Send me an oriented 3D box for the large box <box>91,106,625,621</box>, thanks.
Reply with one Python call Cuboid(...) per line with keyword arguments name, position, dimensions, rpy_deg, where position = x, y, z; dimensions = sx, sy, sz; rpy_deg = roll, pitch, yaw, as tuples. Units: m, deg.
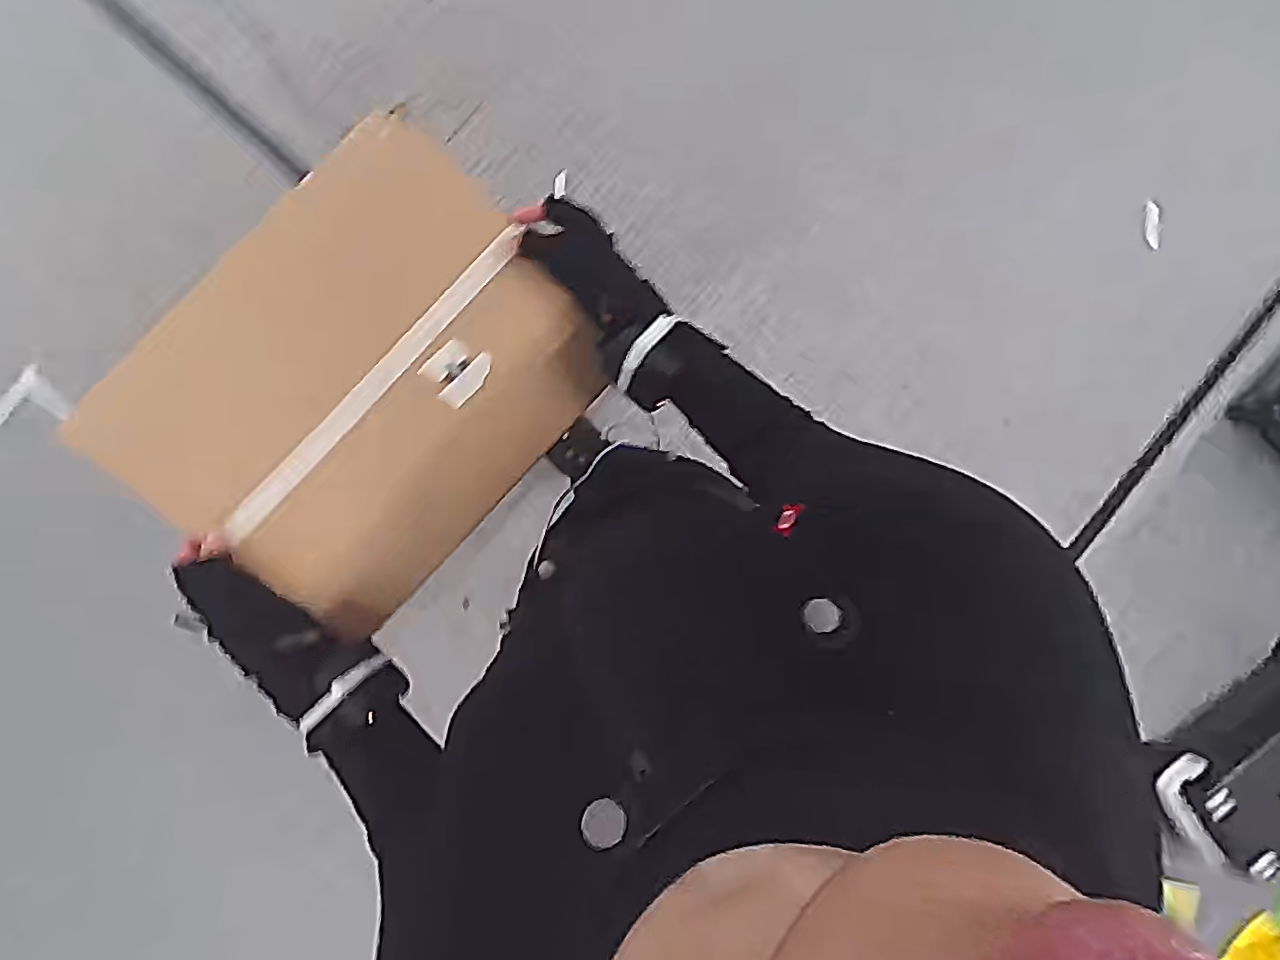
Cuboid(name="large box", position=(-0.282, -0.116, 0.666), dimensions=(0.320, 0.320, 0.408), rpy_deg=(44, 87, -13))
